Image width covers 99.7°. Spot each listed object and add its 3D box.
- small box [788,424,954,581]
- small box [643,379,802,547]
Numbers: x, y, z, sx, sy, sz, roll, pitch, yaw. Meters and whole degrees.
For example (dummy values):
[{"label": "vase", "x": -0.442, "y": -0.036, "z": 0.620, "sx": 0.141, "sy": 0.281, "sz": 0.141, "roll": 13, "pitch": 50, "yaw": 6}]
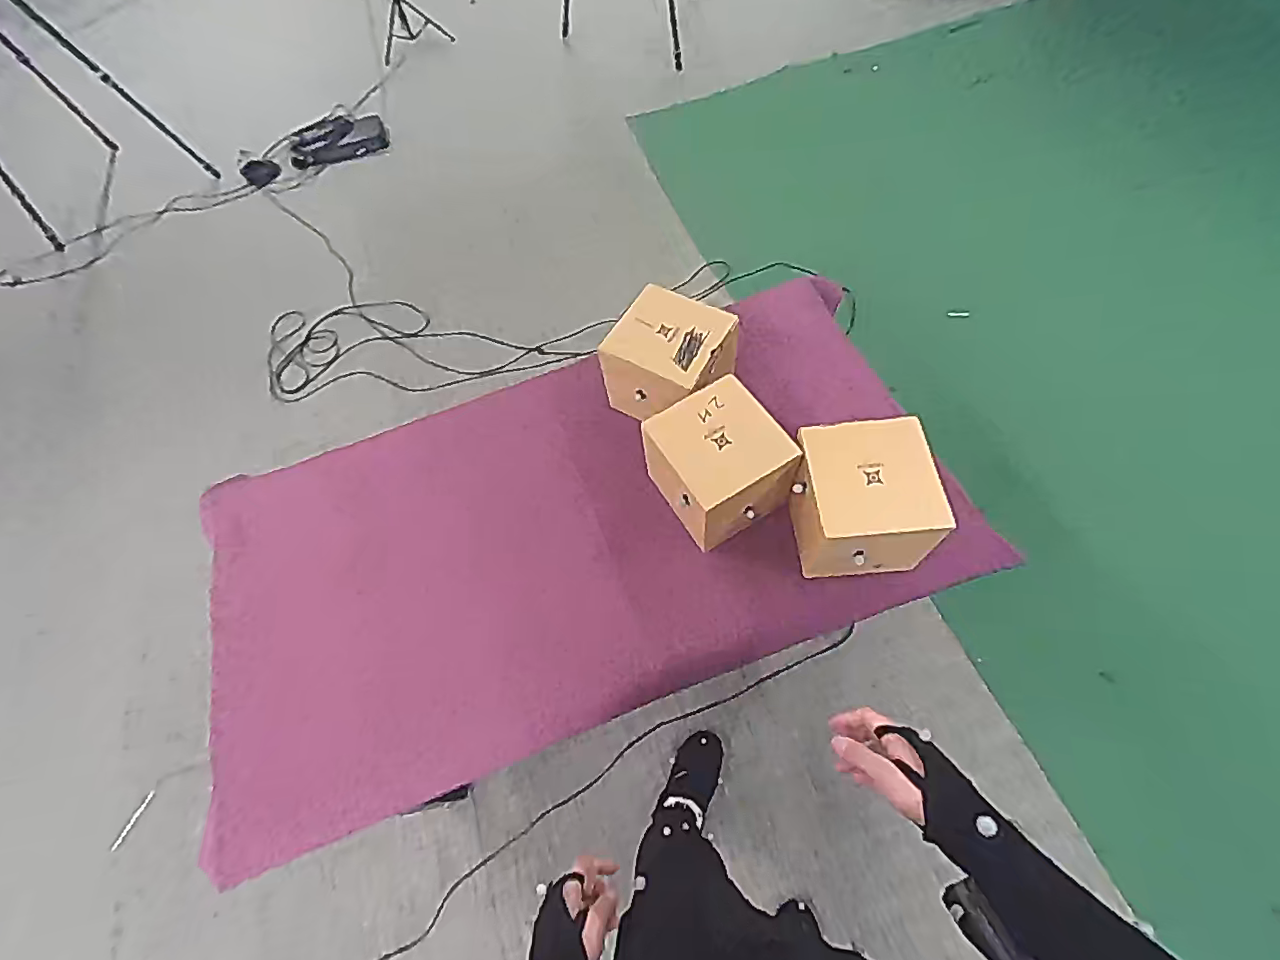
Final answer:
[{"label": "small box", "x": 0.320, "y": 0.042, "z": 0.790, "sx": 0.168, "sy": 0.176, "sz": 0.179, "roll": -5, "pitch": 60, "yaw": 4}, {"label": "small box", "x": 0.122, "y": -0.015, "z": 0.840, "sx": 0.168, "sy": 0.176, "sz": 0.179, "roll": -29, "pitch": 63, "yaw": -10}]
